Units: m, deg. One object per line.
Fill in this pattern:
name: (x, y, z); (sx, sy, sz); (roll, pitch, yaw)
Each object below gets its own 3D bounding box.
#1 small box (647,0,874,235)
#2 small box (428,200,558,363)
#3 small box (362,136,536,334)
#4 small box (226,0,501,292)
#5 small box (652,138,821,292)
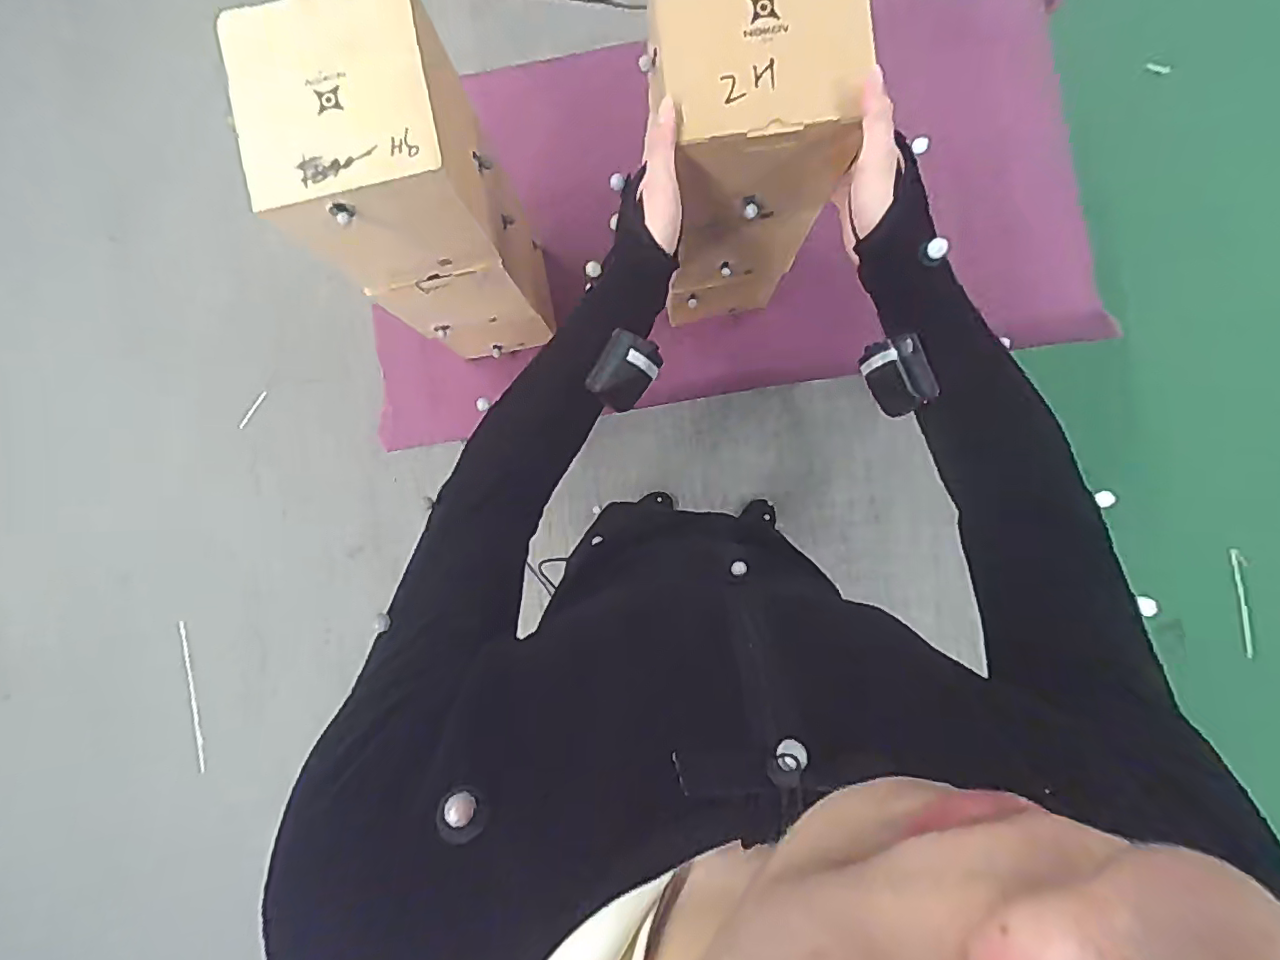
small box: (0.095, -0.355, 0.499); (0.168, 0.176, 0.179); (-6, 92, 3)
small box: (-0.236, -0.303, 0.856); (0.168, 0.176, 0.179); (-11, 88, 3)
small box: (-0.242, -0.300, 0.693); (0.168, 0.176, 0.179); (-11, 86, 3)
small box: (-0.251, -0.313, 0.528); (0.168, 0.176, 0.179); (-11, 86, 4)
small box: (0.108, -0.363, 0.679); (0.168, 0.176, 0.179); (-11, 88, 2)
